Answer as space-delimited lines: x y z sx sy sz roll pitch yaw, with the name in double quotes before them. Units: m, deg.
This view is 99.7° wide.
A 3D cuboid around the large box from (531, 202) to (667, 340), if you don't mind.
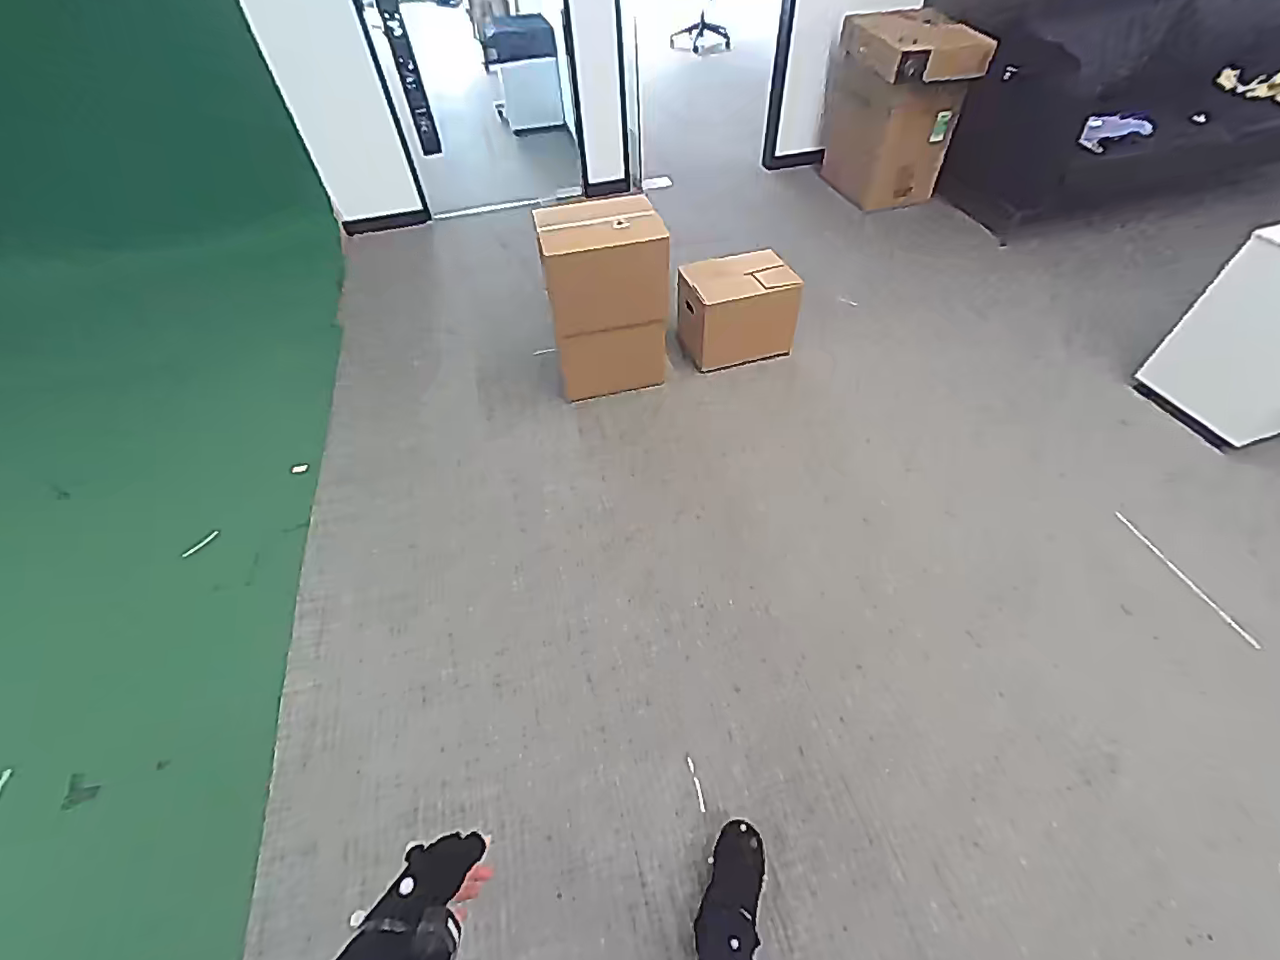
"large box" -0.142 -0.730 1.892 0.408 0.320 0.320 -12 52 -9
